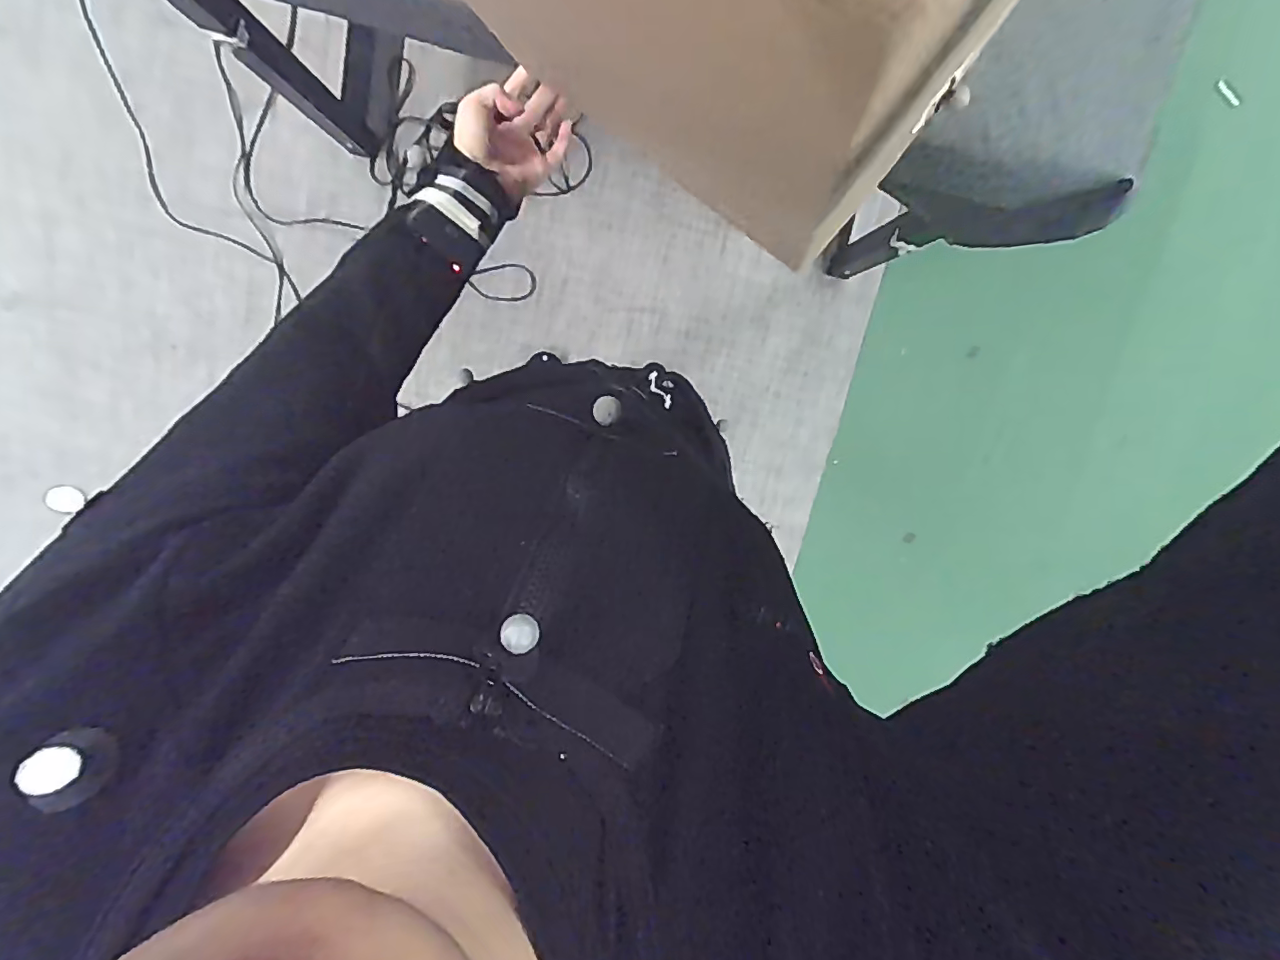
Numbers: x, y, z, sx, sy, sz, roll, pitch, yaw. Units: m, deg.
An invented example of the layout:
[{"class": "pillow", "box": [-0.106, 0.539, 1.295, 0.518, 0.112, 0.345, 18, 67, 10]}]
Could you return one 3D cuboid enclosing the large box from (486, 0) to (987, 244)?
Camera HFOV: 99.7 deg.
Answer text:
[{"class": "large box", "box": [0.064, -0.361, 0.253, 0.320, 0.408, 0.320, 37, 109, 0]}]
